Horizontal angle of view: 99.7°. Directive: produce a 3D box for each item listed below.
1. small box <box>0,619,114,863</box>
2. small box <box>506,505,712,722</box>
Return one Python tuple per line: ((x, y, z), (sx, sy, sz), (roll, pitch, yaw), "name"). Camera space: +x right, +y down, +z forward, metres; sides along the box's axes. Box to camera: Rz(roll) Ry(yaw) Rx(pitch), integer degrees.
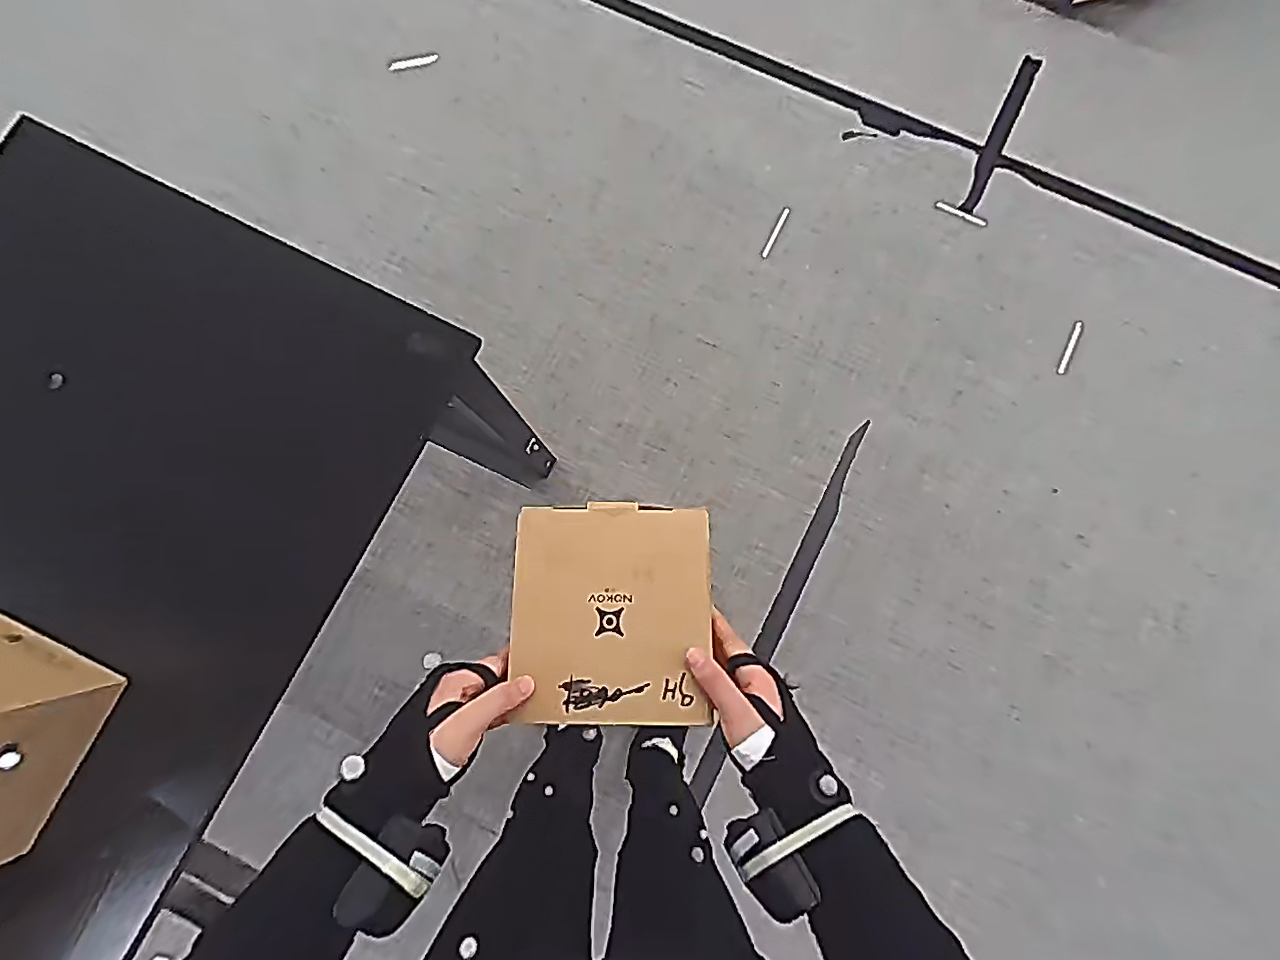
((-0.613, 0.231, 0.450), (0.168, 0.176, 0.179), (25, 83, 4), "small box")
((-0.022, 0.129, 0.524), (0.168, 0.176, 0.179), (-1, 74, 2), "small box")
